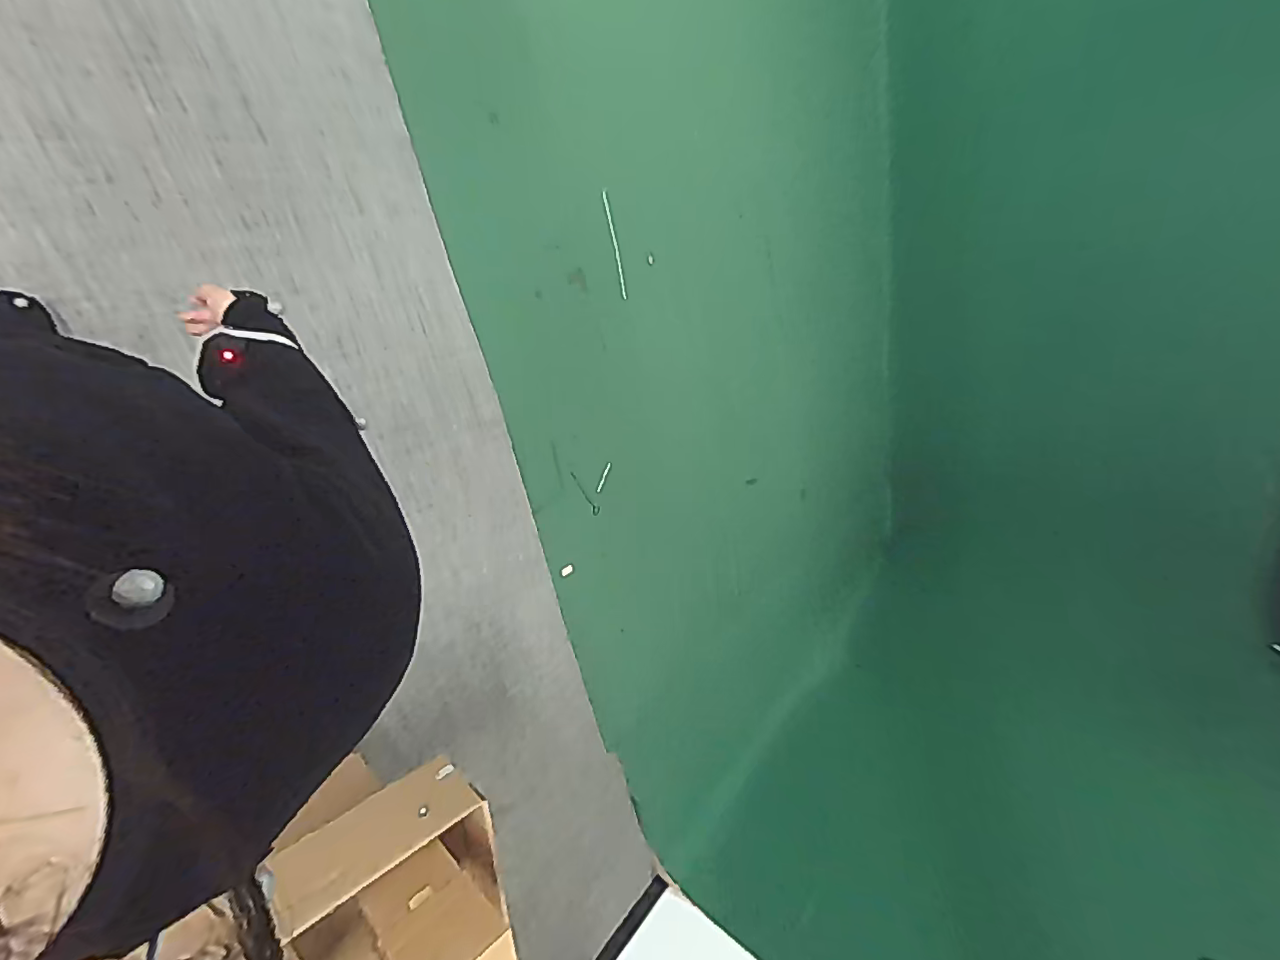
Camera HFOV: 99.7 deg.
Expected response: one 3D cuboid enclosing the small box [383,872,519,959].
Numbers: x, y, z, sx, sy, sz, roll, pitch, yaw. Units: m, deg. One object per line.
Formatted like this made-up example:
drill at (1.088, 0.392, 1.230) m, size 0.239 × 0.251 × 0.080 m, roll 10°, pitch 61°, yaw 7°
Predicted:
small box at (-0.342, 0.885, 0.994) m, size 0.179 × 0.176 × 0.168 m, roll -19°, pitch 111°, yaw -40°
